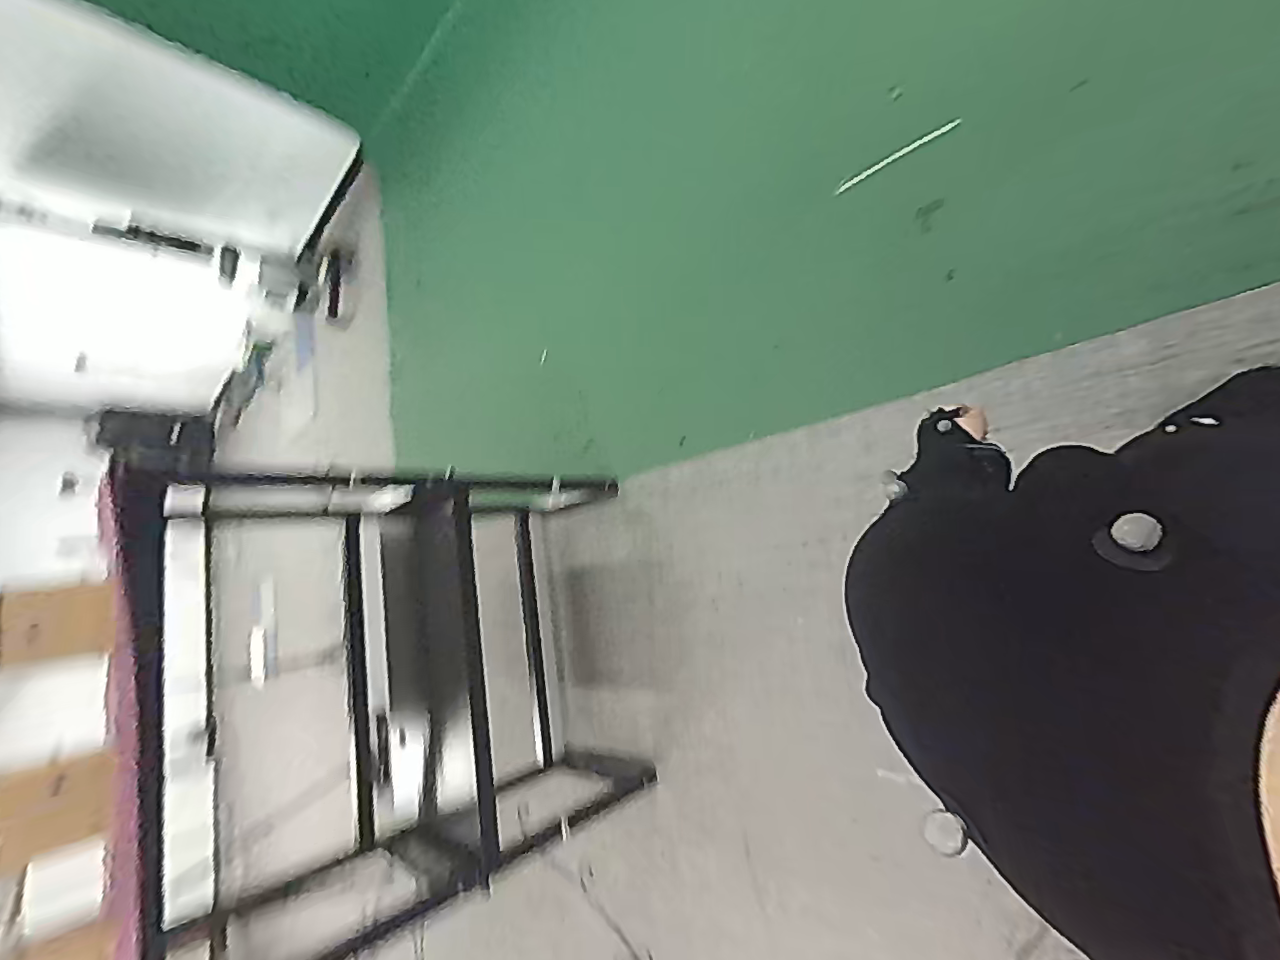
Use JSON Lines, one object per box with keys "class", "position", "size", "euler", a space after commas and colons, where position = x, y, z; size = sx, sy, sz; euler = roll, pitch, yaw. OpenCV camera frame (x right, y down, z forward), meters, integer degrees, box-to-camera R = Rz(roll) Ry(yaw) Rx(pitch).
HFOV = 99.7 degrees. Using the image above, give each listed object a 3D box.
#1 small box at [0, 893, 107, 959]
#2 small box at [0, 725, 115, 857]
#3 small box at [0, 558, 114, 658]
{"class": "small box", "position": [-1.112, 0.912, 1.002], "size": [0.179, 0.176, 0.168], "euler": [-17, 76, 42]}
{"class": "small box", "position": [-1.156, 0.599, 1.060], "size": [0.168, 0.176, 0.179], "euler": [-17, 78, 42]}
{"class": "small box", "position": [-1.220, 0.262, 1.127], "size": [0.168, 0.176, 0.179], "euler": [-14, 79, 44]}
